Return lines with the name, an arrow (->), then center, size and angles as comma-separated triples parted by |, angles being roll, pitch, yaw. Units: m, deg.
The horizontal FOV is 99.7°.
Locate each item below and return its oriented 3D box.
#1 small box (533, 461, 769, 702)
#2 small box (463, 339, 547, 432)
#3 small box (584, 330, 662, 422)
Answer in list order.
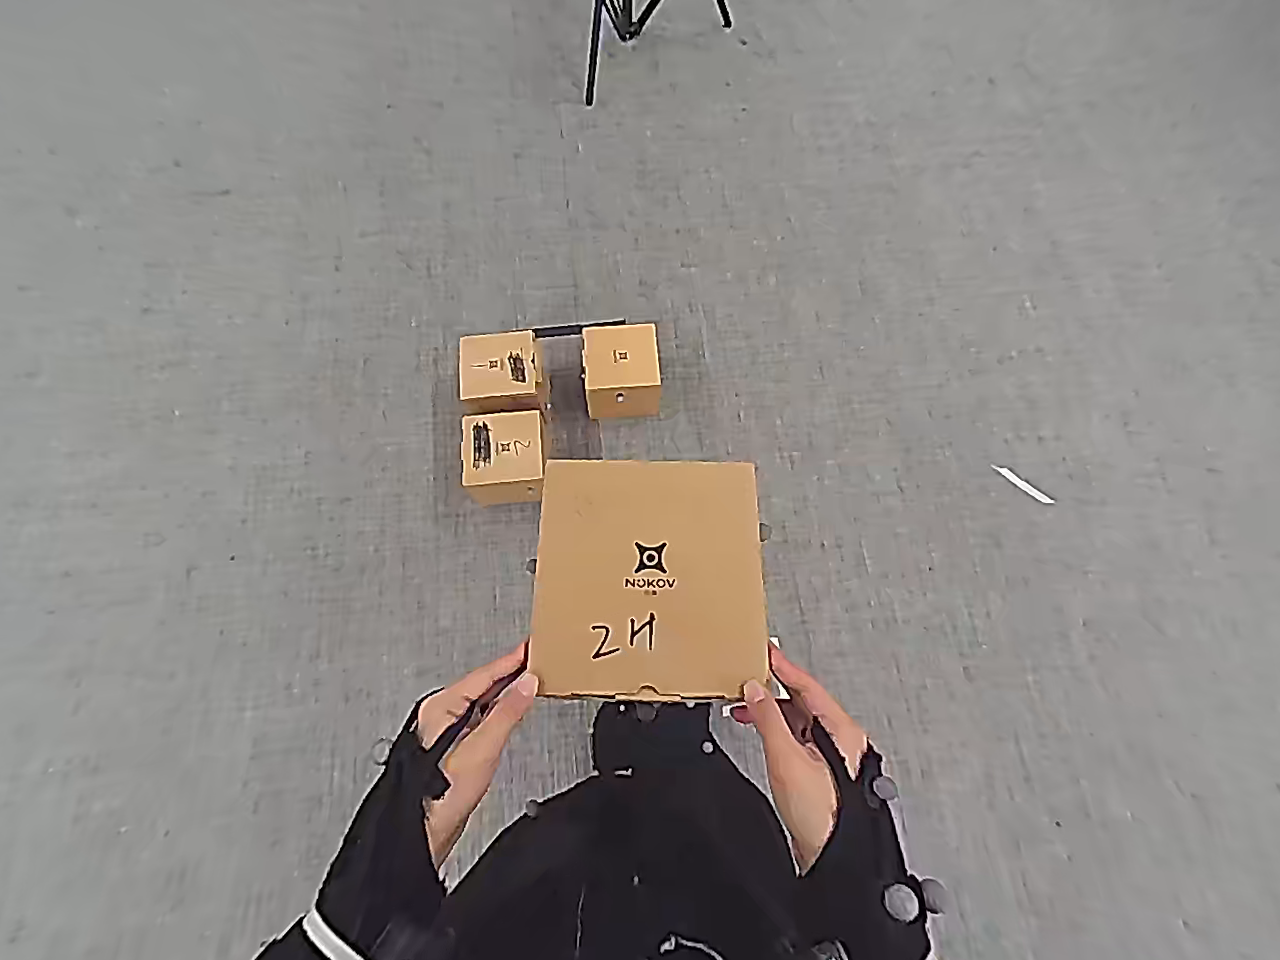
small box -> 0.009, 0.098, 0.475 | 0.168, 0.176, 0.179 | 1, 68, 1
small box -> -0.327, -0.229, 1.335 | 0.179, 0.176, 0.168 | -5, 73, -2
small box -> -0.044, -0.254, 1.349 | 0.179, 0.176, 0.168 | -4, 73, -2
